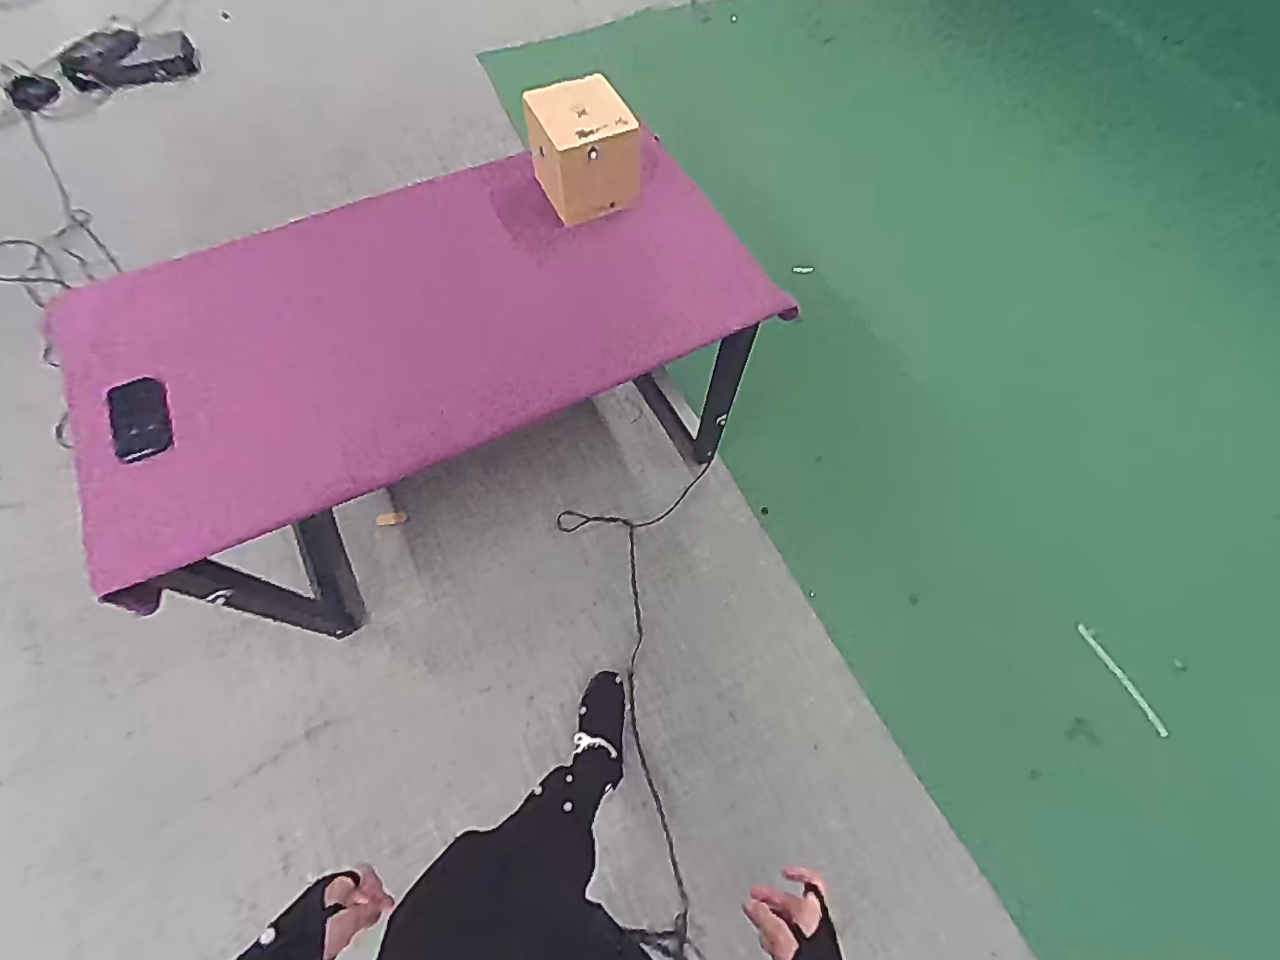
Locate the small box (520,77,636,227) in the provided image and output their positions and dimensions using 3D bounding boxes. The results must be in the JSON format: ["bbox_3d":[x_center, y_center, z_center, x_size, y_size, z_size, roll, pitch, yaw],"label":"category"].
[{"bbox_3d":[-0.119,-0.644,1.070,0.168,0.176,0.179,-25,69,-11],"label":"small box"}]
